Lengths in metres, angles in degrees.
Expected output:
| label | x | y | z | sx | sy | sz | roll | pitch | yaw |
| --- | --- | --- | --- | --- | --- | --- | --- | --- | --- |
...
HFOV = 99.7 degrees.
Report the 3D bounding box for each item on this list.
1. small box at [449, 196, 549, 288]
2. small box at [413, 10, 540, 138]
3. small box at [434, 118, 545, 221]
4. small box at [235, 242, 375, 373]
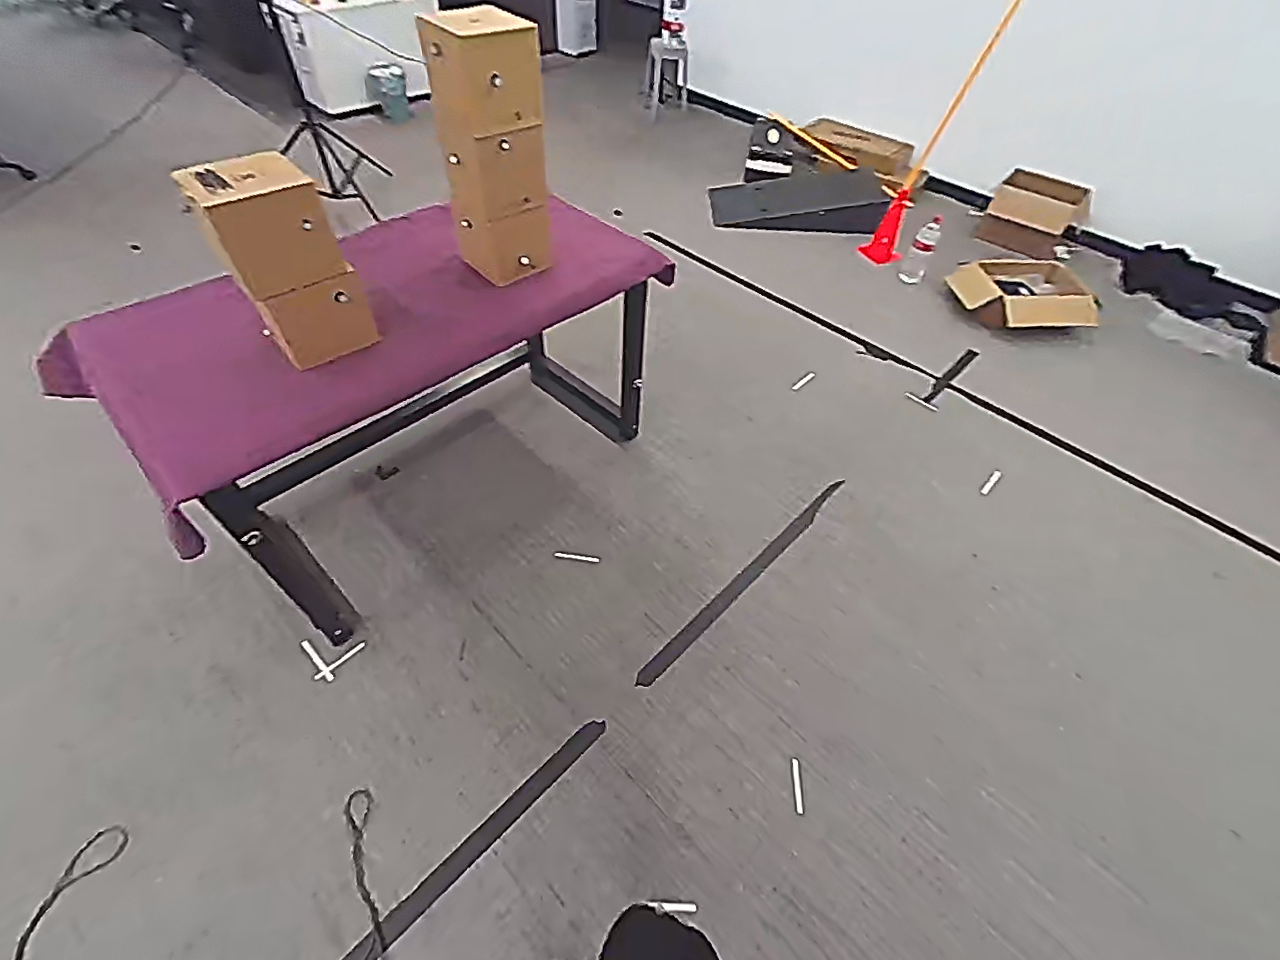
| label | x | y | z | sx | sy | sz | roll | pitch | yaw |
| --- | --- | --- | --- | --- | --- | --- | --- | --- | --- |
| small box | -0.344 | -0.609 | 1.344 | 0.168 | 0.176 | 0.179 | -35 | 61 | -27 |
| small box | -0.319 | -0.810 | 1.087 | 0.168 | 0.176 | 0.179 | -33 | 59 | -26 |
| small box | -0.333 | -0.710 | 1.216 | 0.168 | 0.176 | 0.179 | -33 | 59 | -26 |
| small box | -0.675 | -0.354 | 1.112 | 0.179 | 0.176 | 0.168 | -34 | 60 | -27 |
